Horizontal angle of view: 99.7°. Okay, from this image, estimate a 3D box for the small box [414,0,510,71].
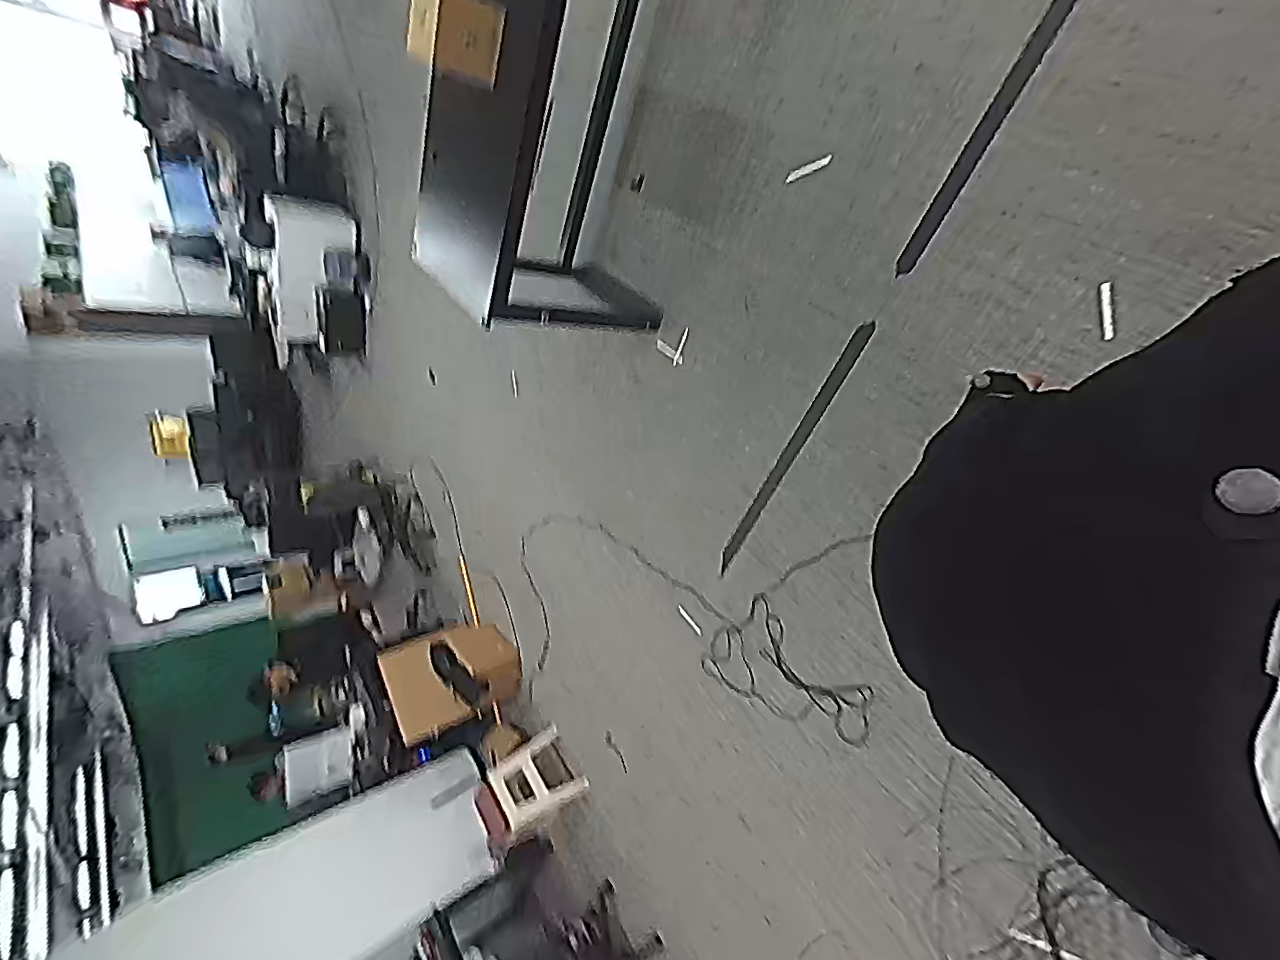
[{"bbox_3d":[-0.449,-1.167,1.363,0.179,0.176,0.168,48,129,31],"label":"small box"}]
